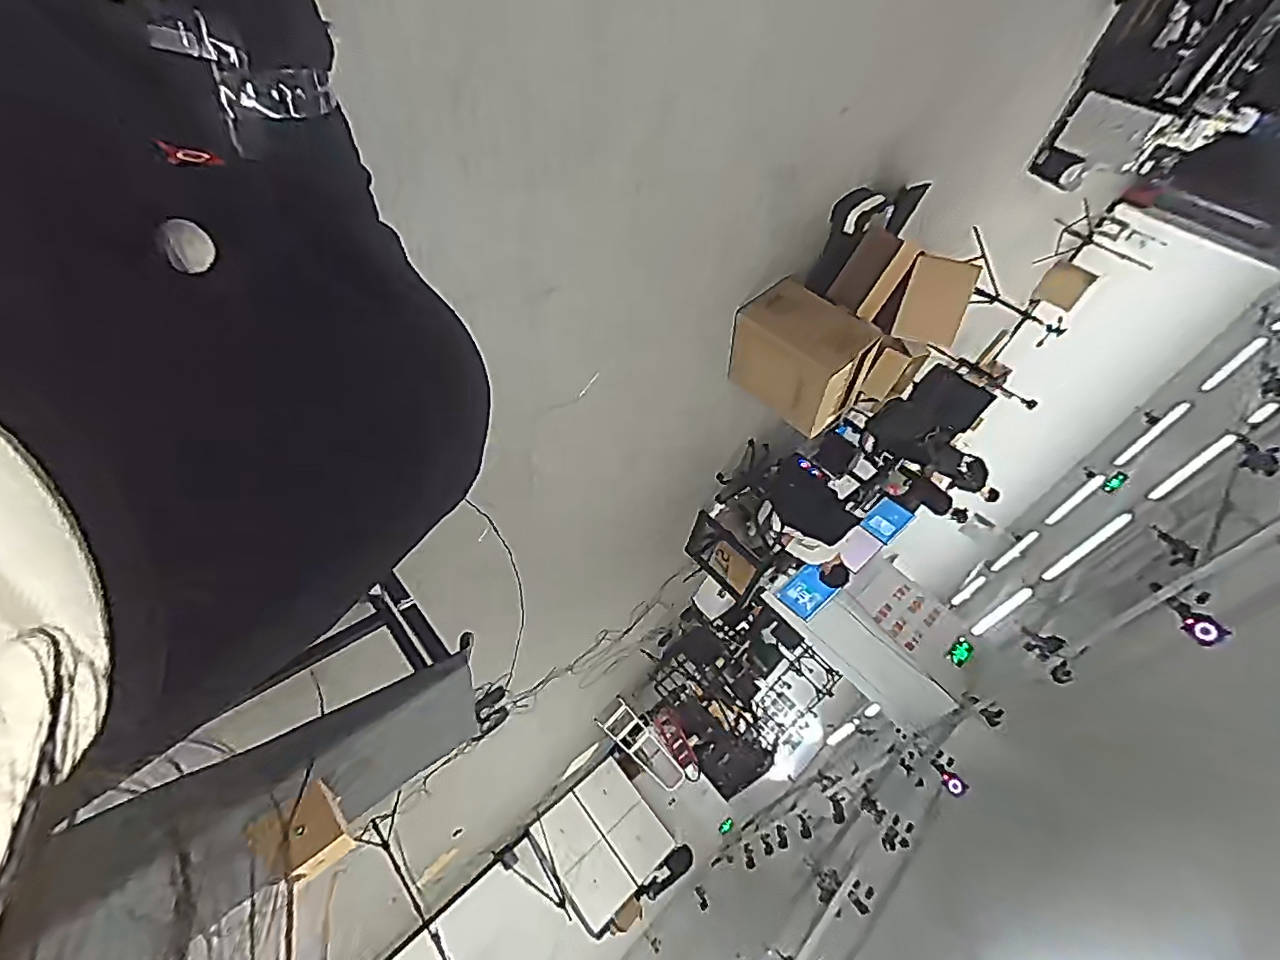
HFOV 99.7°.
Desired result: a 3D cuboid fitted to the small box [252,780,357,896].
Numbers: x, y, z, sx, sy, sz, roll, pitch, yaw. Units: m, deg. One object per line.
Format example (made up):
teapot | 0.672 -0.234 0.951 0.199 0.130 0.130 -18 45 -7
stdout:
small box | -0.880 0.933 1.415 0.179 0.176 0.168 -30 151 -35
